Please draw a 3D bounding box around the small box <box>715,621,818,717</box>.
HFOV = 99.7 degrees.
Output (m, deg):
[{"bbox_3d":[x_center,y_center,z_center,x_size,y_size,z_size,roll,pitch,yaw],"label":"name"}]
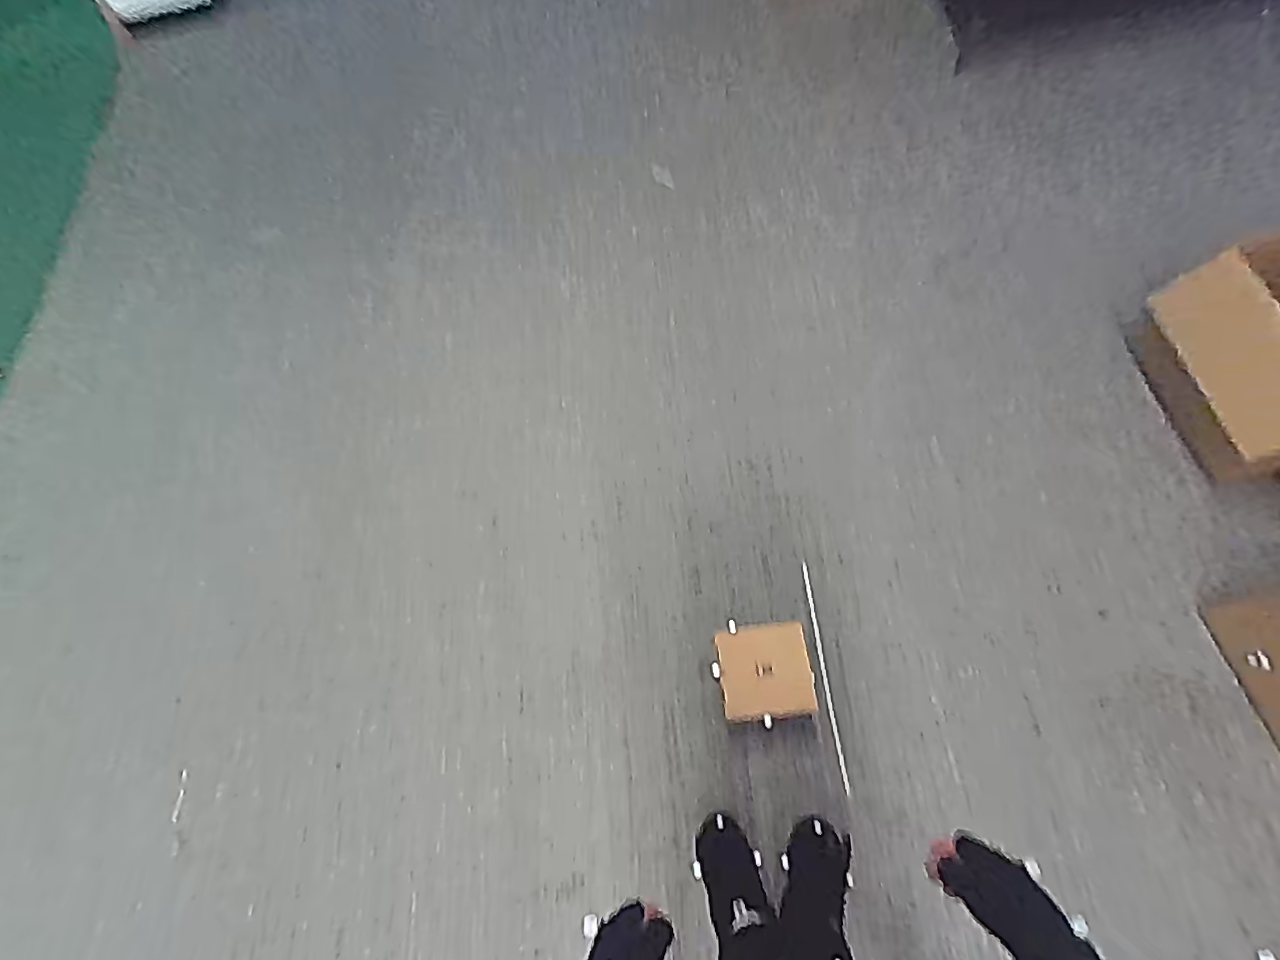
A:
[{"bbox_3d":[0.252,0.390,1.118,0.179,0.176,0.168,-8,68,6],"label":"small box"}]
